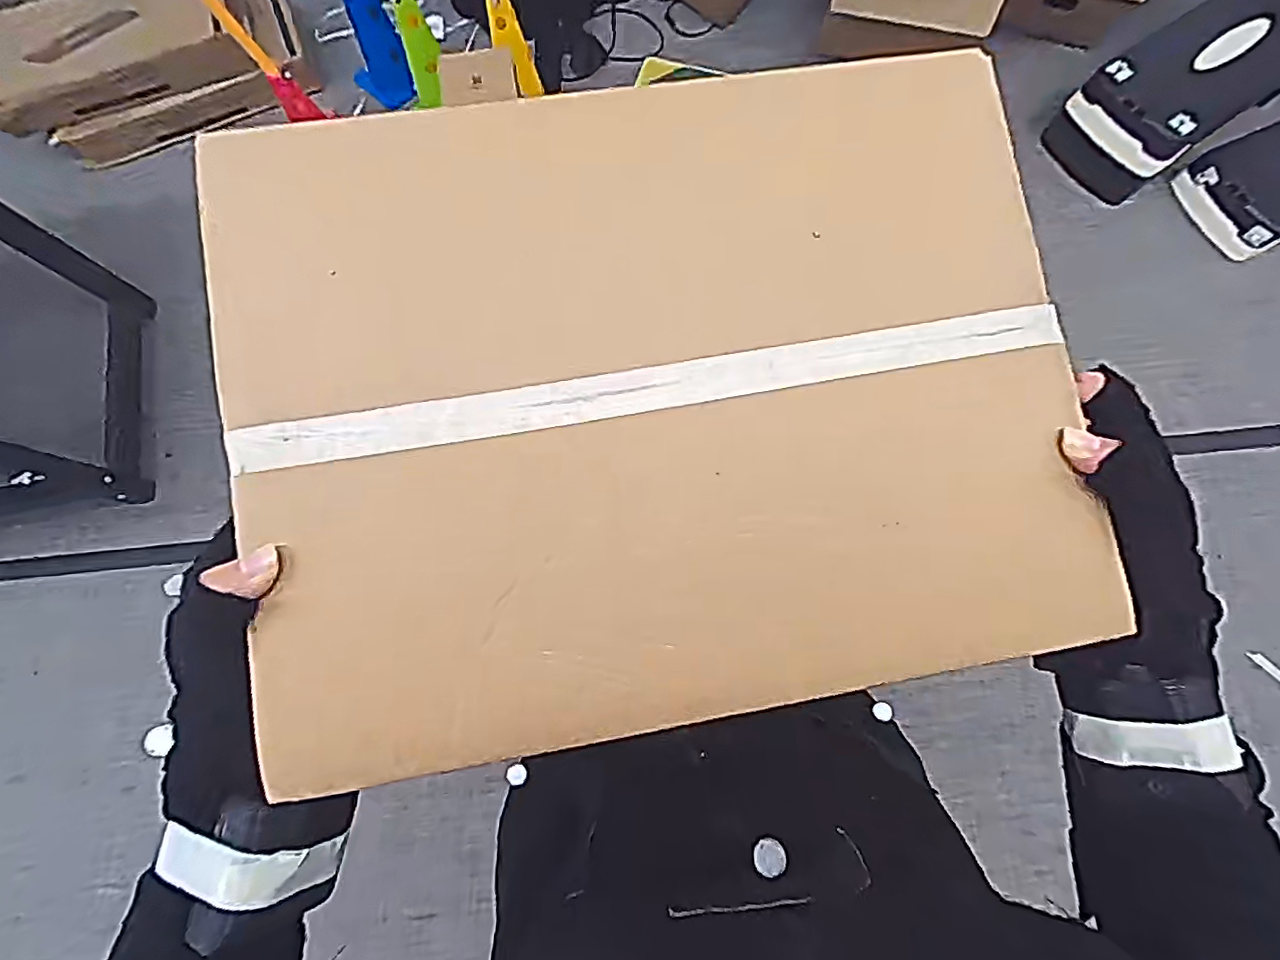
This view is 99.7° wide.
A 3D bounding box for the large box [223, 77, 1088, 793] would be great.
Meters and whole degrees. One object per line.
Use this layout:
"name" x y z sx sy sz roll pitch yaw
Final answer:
"large box" 0.003 -0.027 0.421 0.408 0.320 0.320 -10 84 -4
